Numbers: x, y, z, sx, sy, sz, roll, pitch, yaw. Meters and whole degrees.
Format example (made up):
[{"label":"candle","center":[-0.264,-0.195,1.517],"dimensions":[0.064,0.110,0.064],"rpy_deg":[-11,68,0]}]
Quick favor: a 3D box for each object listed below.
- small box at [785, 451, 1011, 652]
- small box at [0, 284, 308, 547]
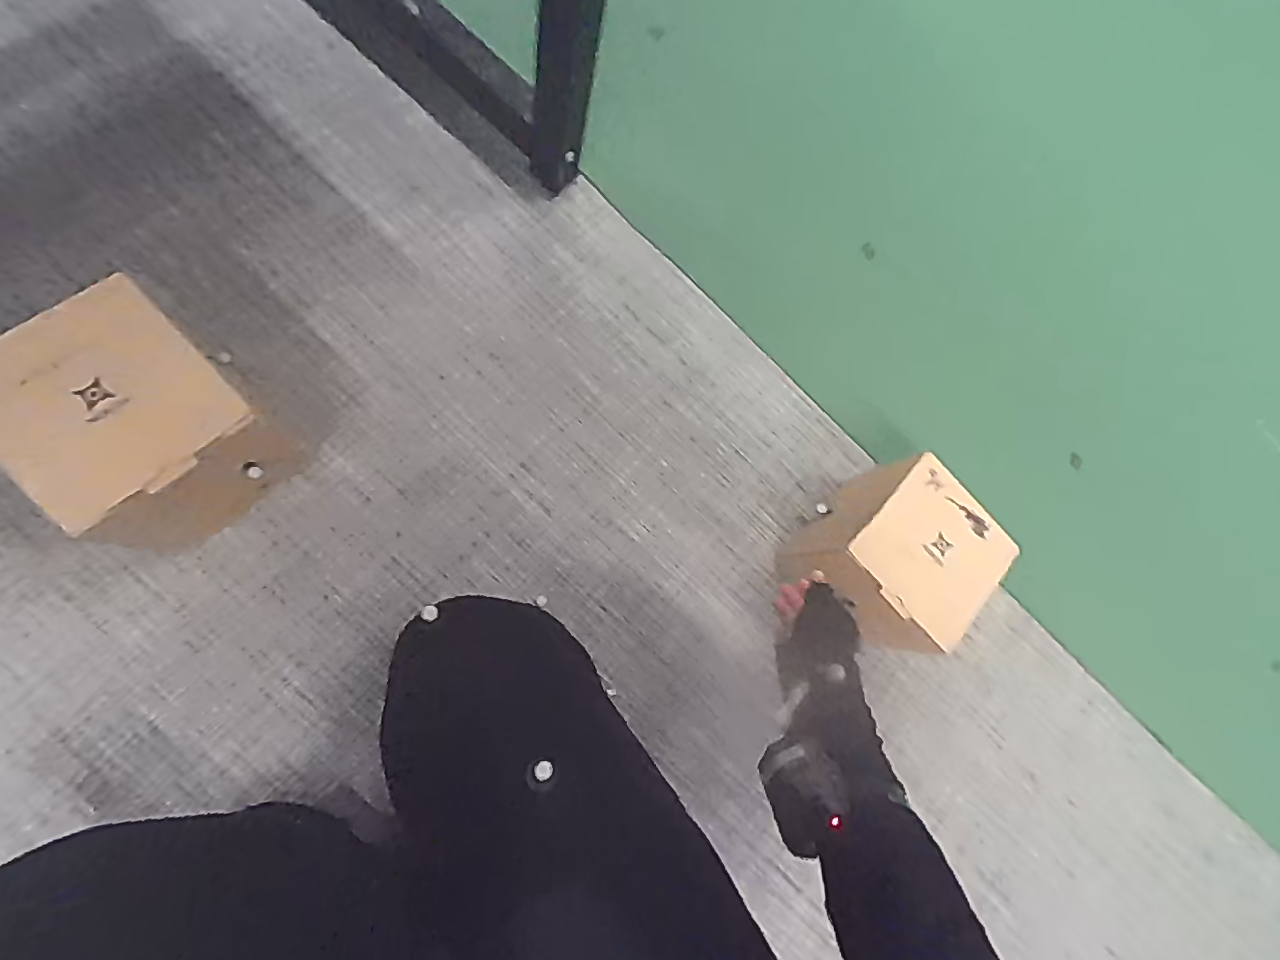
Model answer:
[{"label":"small box","center":[0.315,0.094,0.702],"dimensions":[0.179,0.176,0.168],"rpy_deg":[-43,91,-17]},{"label":"small box","center":[-0.479,-0.047,0.538],"dimensions":[0.179,0.176,0.168],"rpy_deg":[45,72,0]}]
